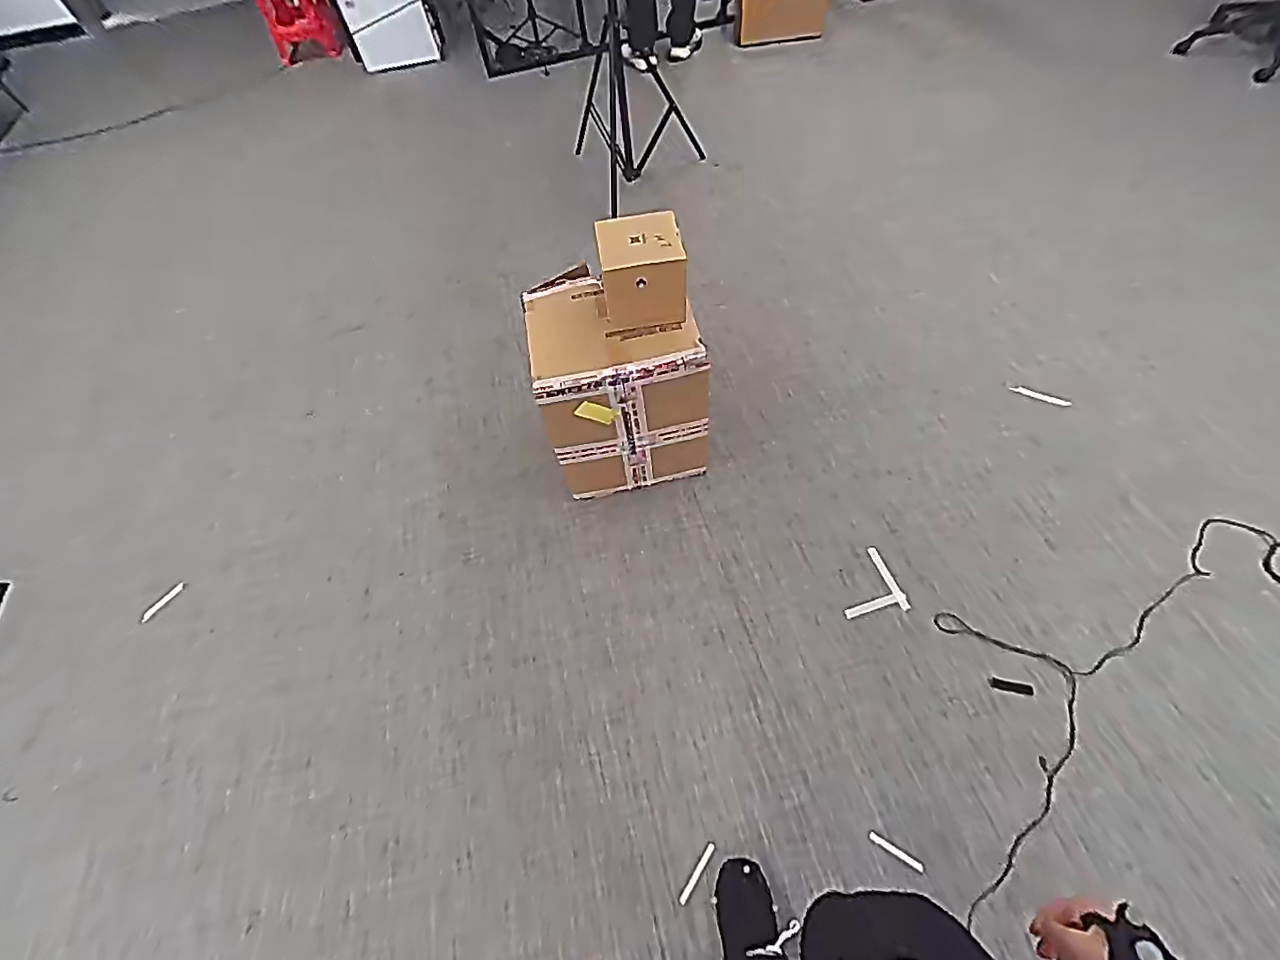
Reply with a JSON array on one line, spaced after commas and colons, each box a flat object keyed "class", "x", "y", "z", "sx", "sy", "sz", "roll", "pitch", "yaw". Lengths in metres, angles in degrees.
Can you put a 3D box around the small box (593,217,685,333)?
[{"class": "small box", "x": 0.001, "y": -0.446, "z": 1.196, "sx": 0.179, "sy": 0.176, "sz": 0.168, "roll": -9, "pitch": 60, "yaw": -1}]
